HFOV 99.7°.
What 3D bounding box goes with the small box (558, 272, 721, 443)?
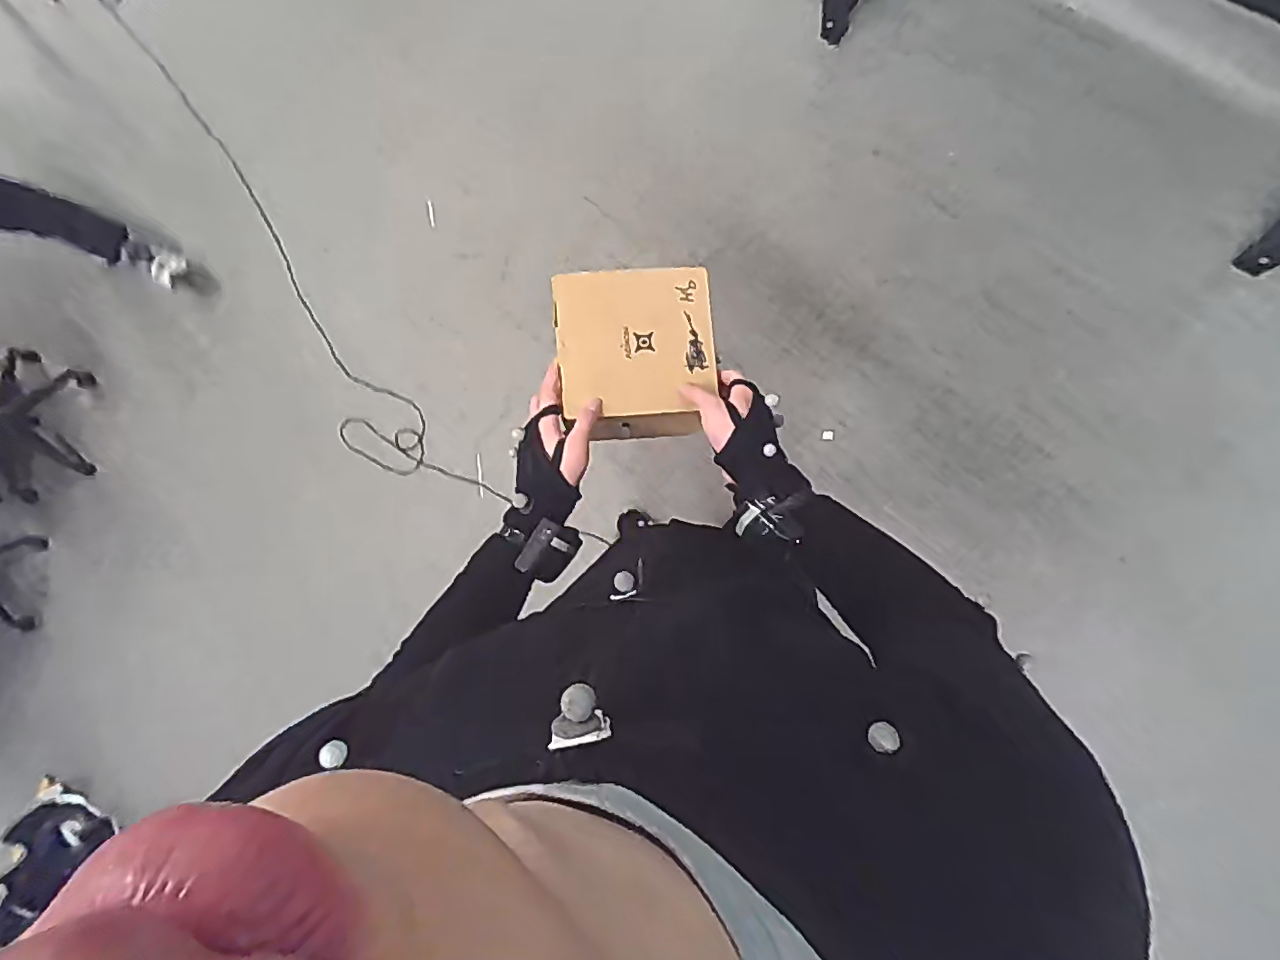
[{"bbox_3d":[-0.004,-0.142,0.677,0.179,0.176,0.168,-3,85,-4],"label":"small box"}]
